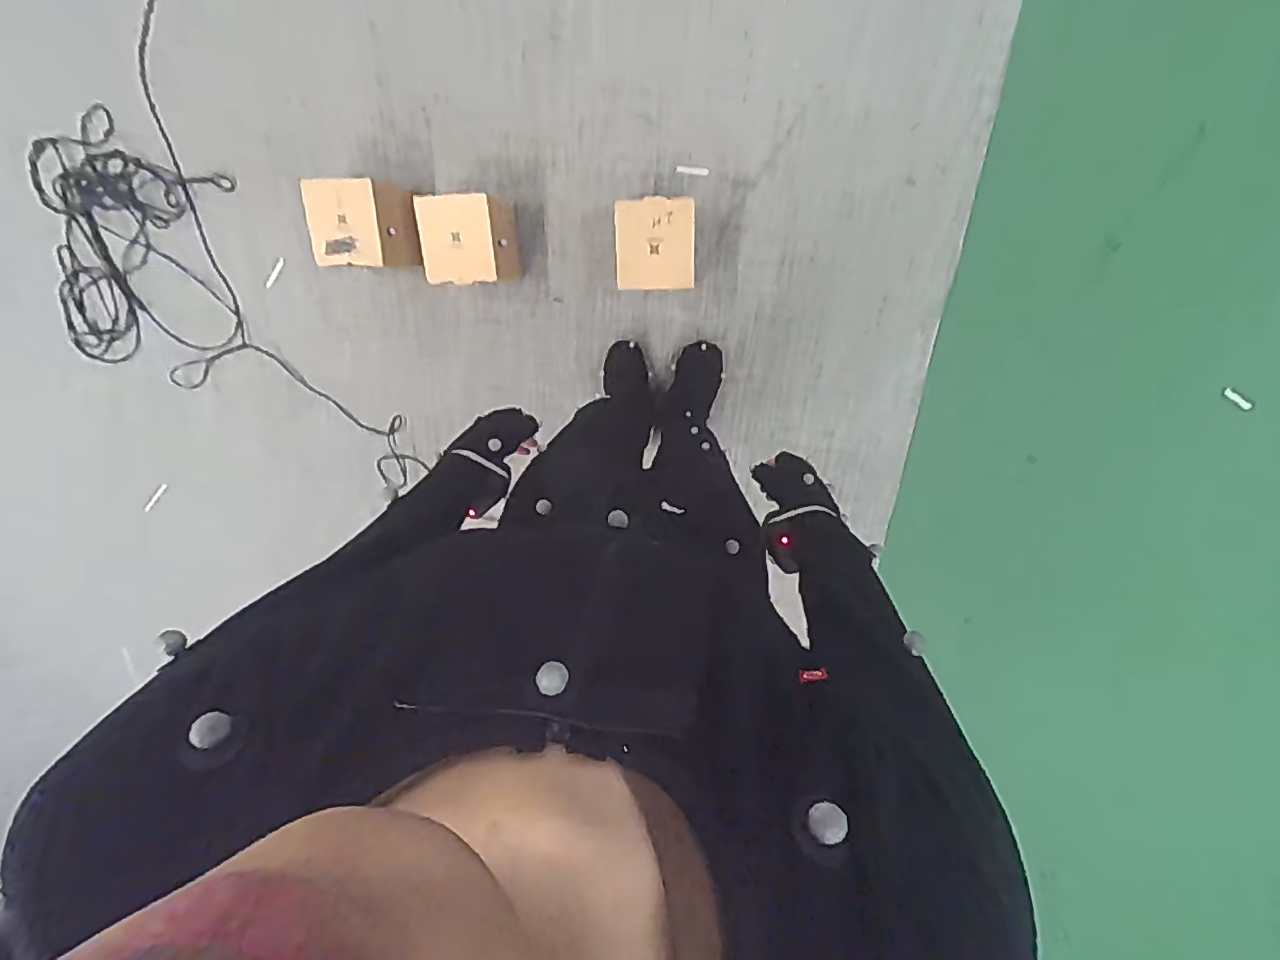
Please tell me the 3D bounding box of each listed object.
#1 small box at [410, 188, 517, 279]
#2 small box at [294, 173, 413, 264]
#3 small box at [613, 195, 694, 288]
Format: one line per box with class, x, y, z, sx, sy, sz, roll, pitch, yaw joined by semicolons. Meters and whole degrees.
small box;-0.390;-0.553;1.226;0.168;0.176;0.179;1;113;7
small box;-0.642;-0.593;1.237;0.168;0.176;0.179;3;112;5
small box;0.034;-0.522;1.189;0.168;0.176;0.179;1;113;5
